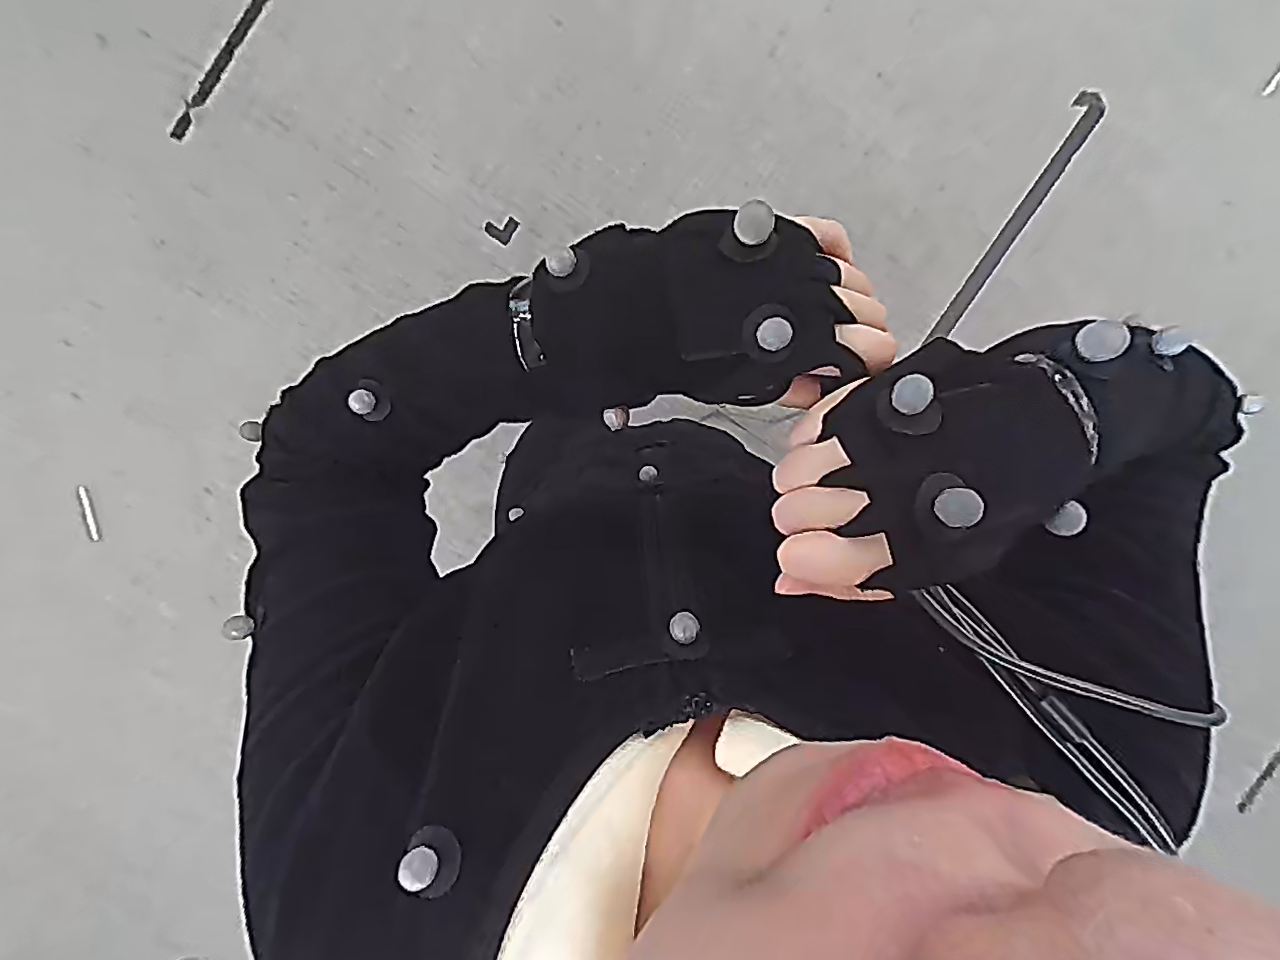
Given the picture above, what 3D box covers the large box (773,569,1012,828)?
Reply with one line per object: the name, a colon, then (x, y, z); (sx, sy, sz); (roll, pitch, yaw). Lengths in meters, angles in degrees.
large box: (0.568, 0.484, 1.271); (0.320, 0.320, 0.408); (-24, 100, -1)
